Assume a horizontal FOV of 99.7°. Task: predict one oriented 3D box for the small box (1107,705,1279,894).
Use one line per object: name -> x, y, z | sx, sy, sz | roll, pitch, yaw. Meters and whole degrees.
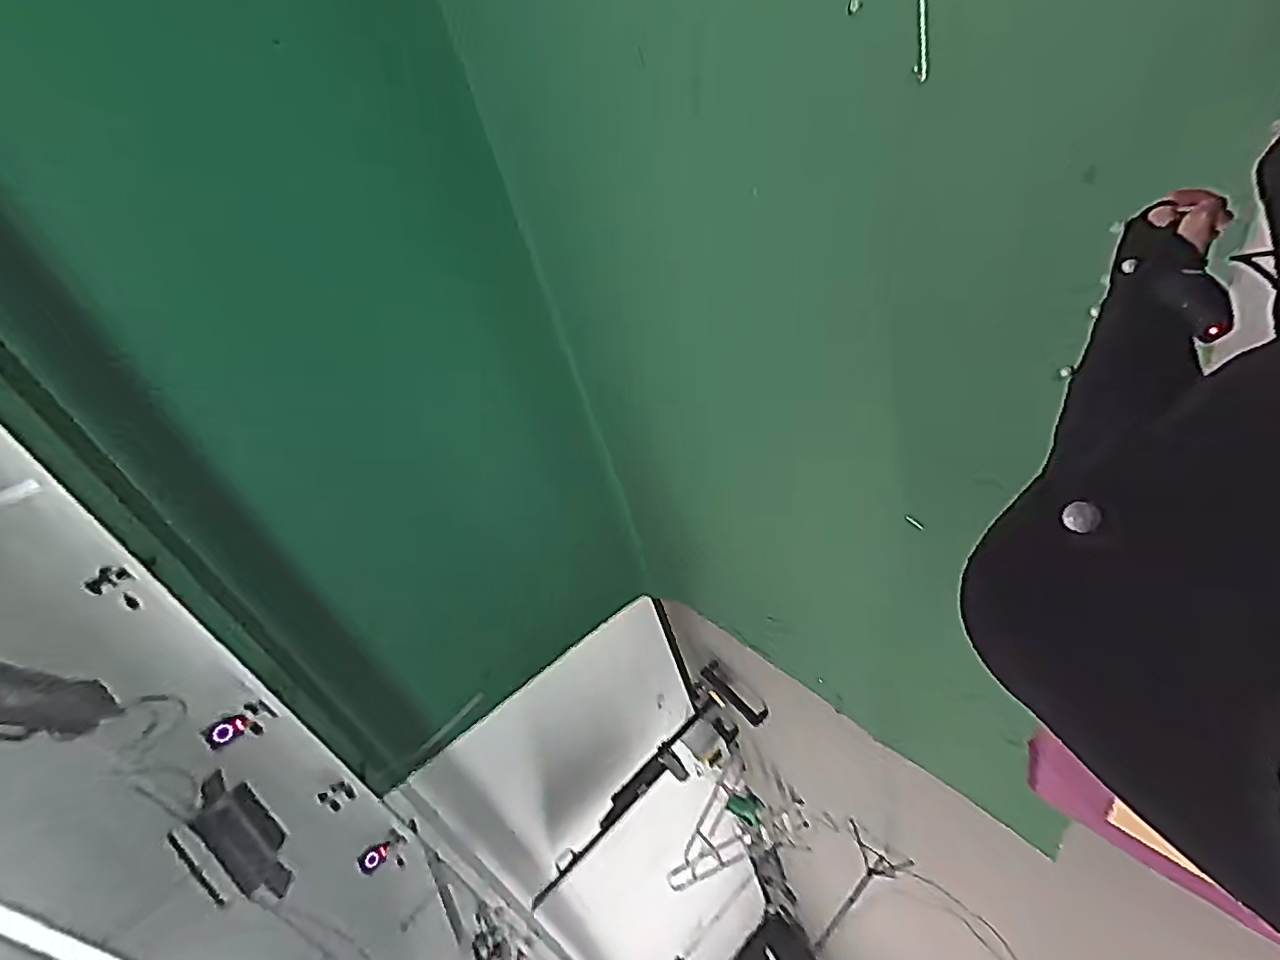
small box -> 0.921, 0.519, 0.895 | 0.168, 0.176, 0.179 | 24, 142, 47
